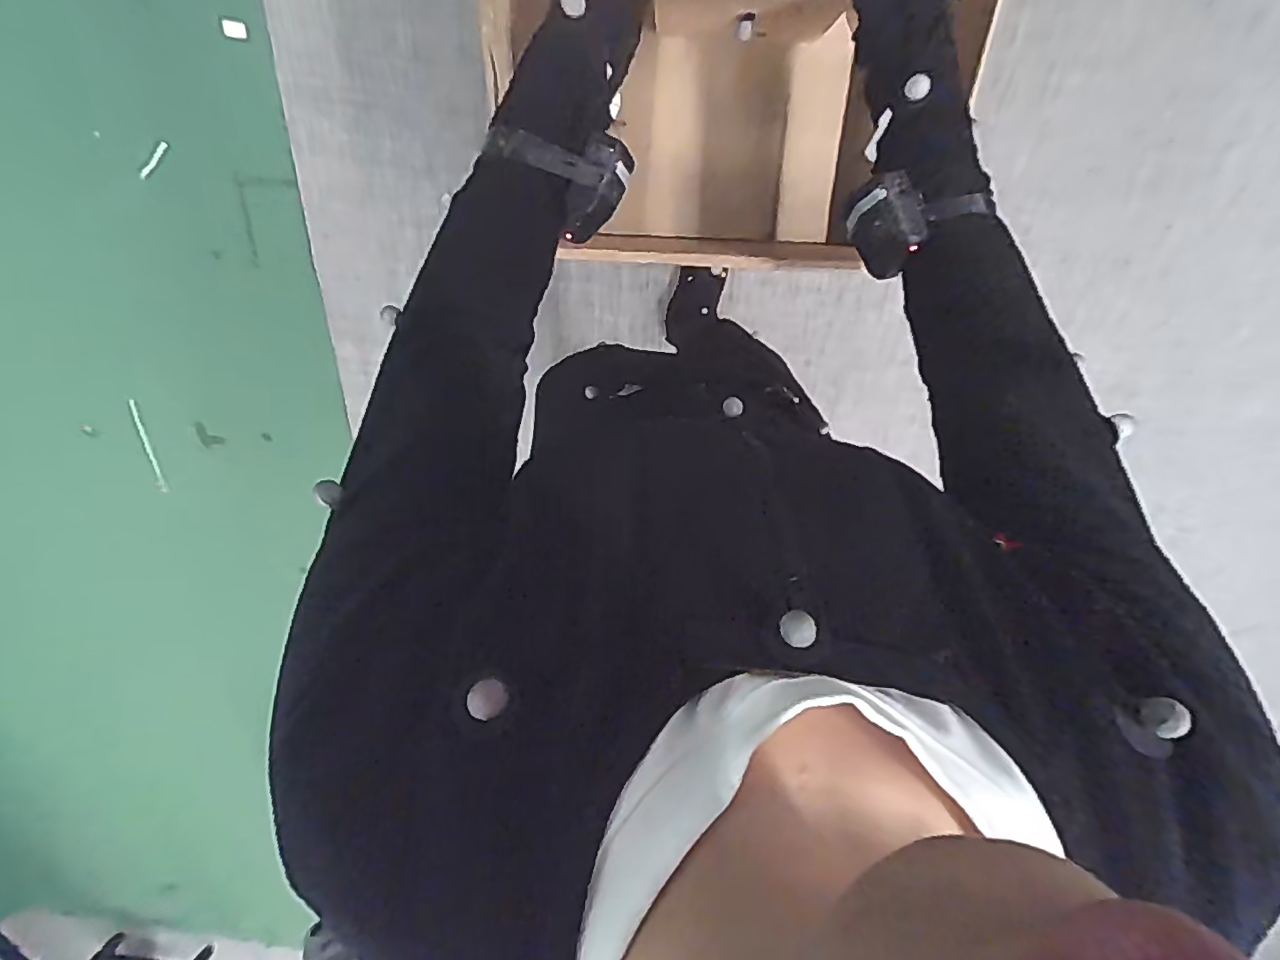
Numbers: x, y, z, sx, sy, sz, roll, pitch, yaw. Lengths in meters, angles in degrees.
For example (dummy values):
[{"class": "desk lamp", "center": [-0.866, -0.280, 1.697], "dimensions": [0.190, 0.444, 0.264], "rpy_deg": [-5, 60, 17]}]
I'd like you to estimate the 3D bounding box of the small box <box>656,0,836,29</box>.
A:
[{"class": "small box", "center": [0.097, -0.490, 0.432], "dimensions": [0.168, 0.176, 0.179], "rpy_deg": [3, 119, 0]}]
